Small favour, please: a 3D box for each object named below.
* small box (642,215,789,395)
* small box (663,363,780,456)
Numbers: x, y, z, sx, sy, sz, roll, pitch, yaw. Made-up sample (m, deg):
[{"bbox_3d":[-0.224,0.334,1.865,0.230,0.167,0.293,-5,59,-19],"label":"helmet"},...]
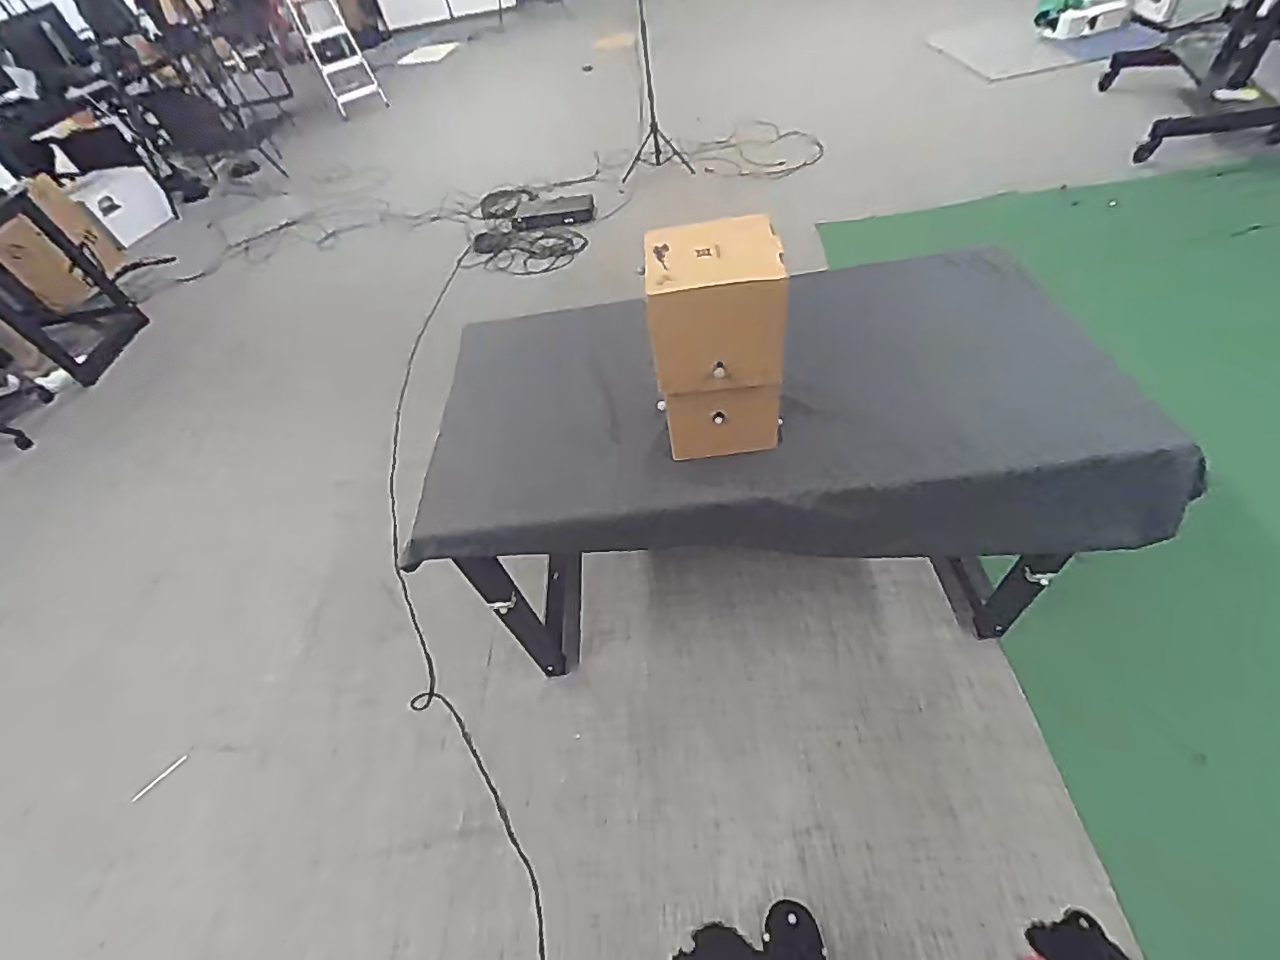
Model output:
[{"bbox_3d":[0.102,-0.243,0.769,0.179,0.176,0.168,-7,52,5],"label":"small box"},{"bbox_3d":[0.128,-0.160,0.905,0.179,0.176,0.168,-7,50,6],"label":"small box"}]
